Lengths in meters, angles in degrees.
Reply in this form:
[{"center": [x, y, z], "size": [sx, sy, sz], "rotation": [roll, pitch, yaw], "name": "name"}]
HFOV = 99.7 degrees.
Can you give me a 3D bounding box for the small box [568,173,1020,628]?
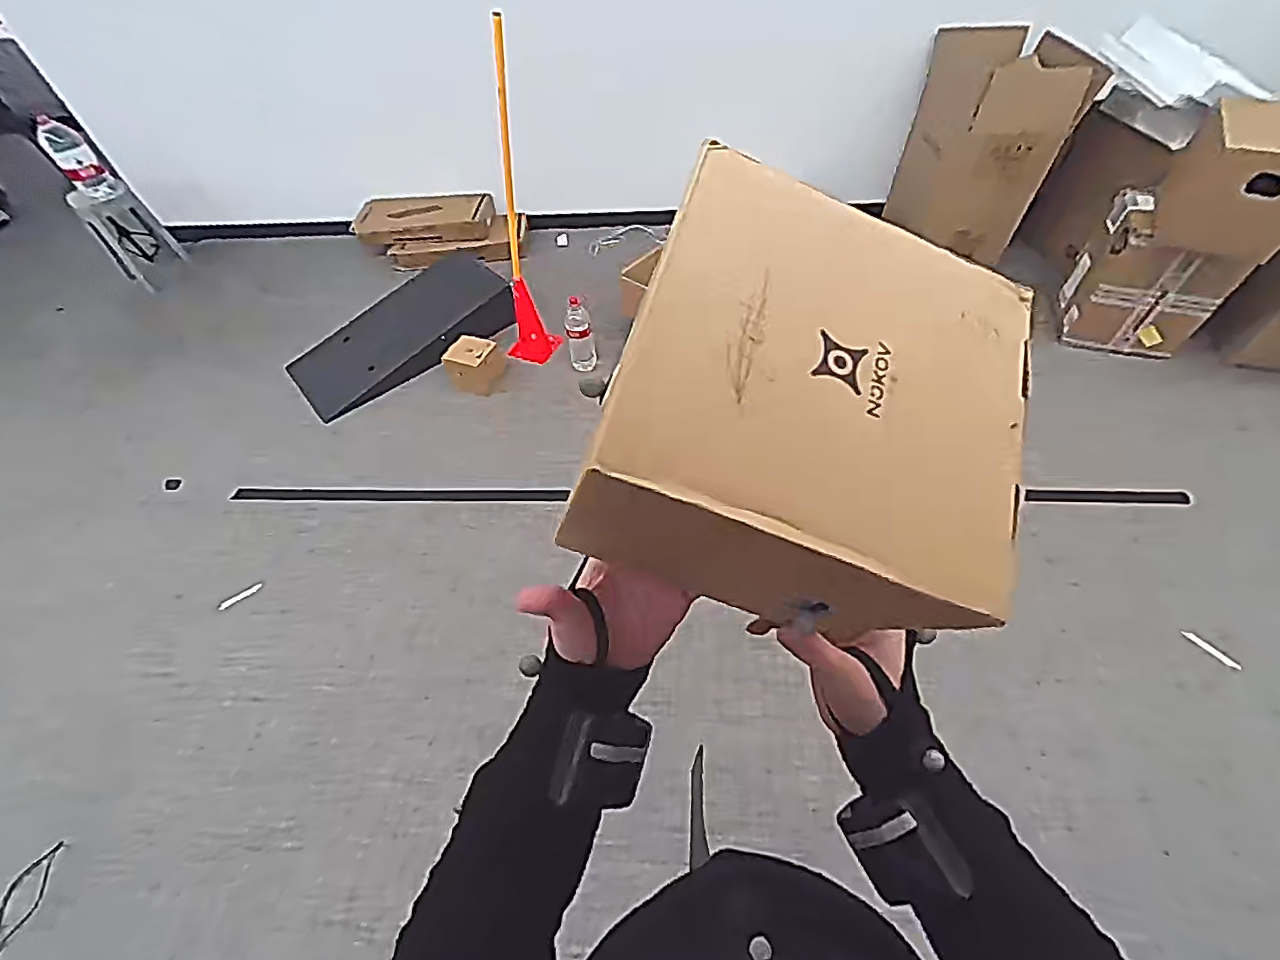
[{"center": [0.071, -0.020, 0.310], "size": [0.179, 0.176, 0.168], "rotation": [20, 69, -7], "name": "small box"}]
